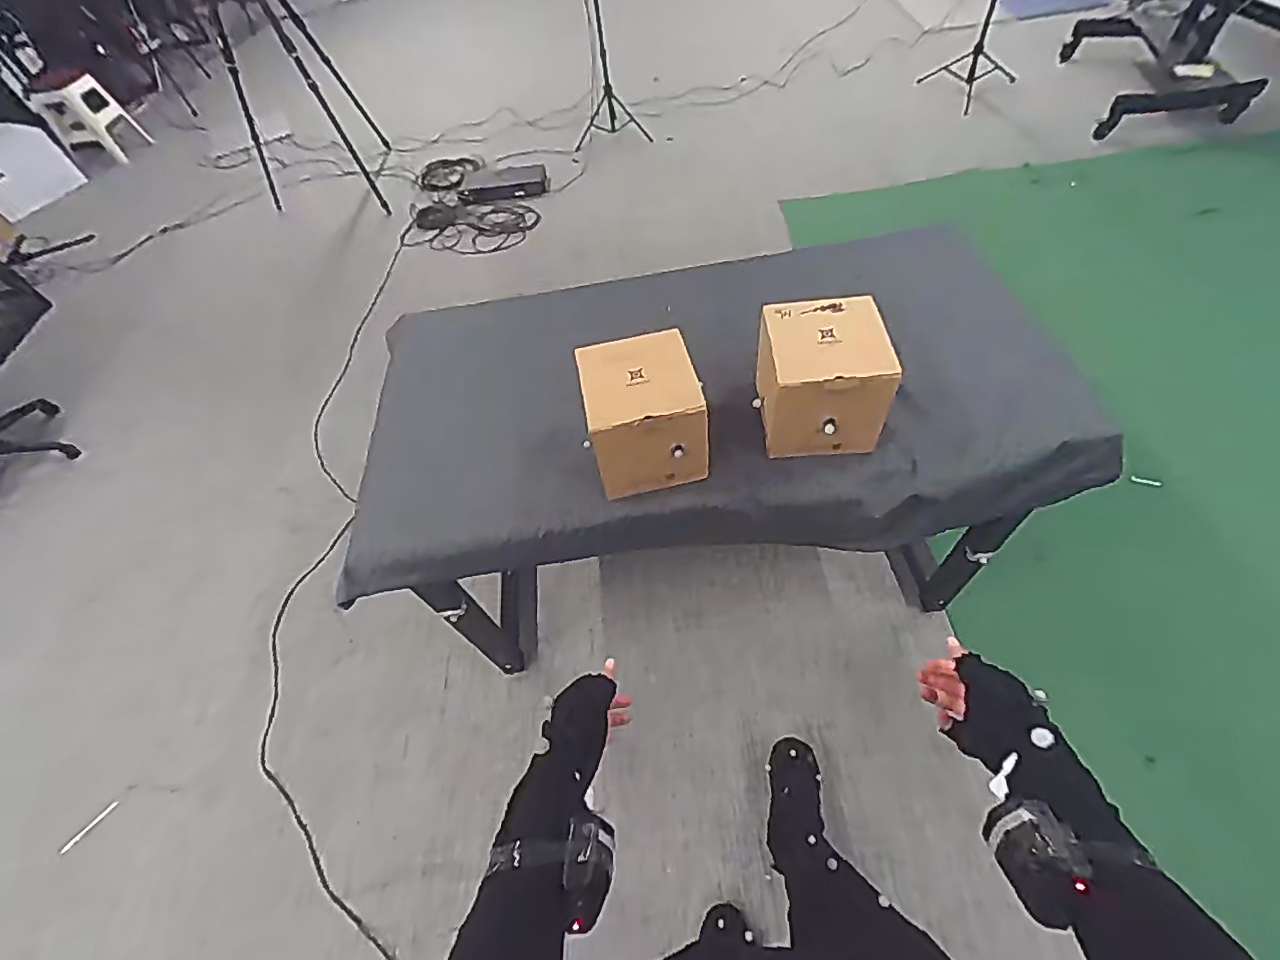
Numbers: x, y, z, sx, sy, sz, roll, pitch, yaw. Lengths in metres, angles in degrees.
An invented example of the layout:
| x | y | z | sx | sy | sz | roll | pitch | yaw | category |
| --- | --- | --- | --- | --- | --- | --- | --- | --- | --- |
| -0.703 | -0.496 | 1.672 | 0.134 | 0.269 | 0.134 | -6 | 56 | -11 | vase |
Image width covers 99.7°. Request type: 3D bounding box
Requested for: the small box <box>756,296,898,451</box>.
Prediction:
| x | y | z | sx | sy | sz | roll | pitch | yaw | category |
| --- | --- | --- | --- | --- | --- | --- | --- | --- | --- |
| 0.276 | -0.156 | 0.841 | 0.168 | 0.176 | 0.179 | -3 | 55 | 5 | small box |

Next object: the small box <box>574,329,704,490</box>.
| x | y | z | sx | sy | sz | roll | pitch | yaw | category |
| --- | --- | --- | --- | --- | --- | --- | --- | --- | --- |
| 0.002 | -0.101 | 0.837 | 0.168 | 0.176 | 0.179 | -12 | 52 | -3 | small box |
